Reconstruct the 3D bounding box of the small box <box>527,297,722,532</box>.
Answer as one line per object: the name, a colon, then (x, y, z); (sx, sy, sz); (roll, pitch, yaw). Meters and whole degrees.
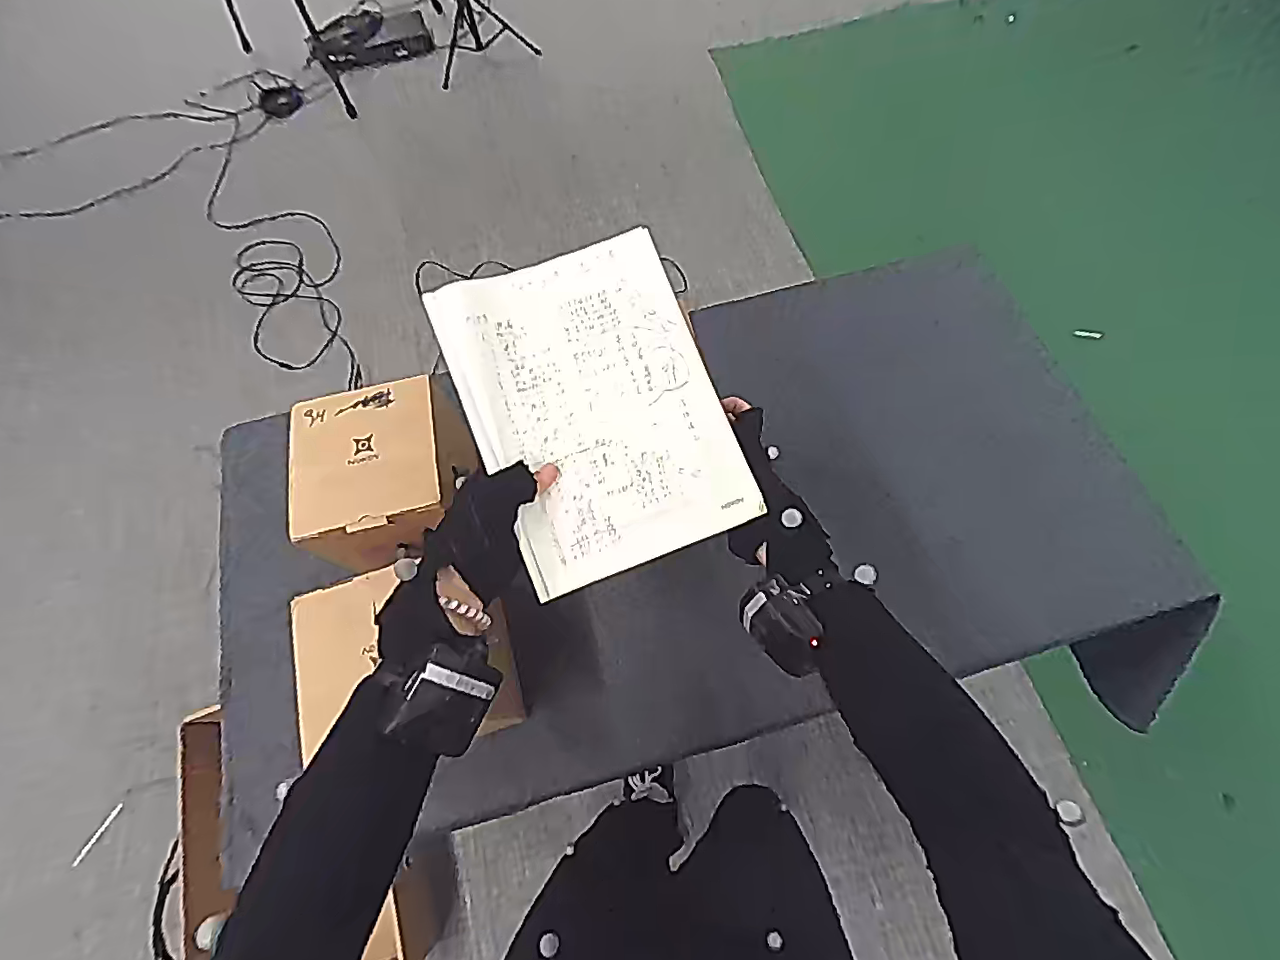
small box: (-0.018, -0.063, 0.586); (0.168, 0.176, 0.179); (-11, 65, -2)
